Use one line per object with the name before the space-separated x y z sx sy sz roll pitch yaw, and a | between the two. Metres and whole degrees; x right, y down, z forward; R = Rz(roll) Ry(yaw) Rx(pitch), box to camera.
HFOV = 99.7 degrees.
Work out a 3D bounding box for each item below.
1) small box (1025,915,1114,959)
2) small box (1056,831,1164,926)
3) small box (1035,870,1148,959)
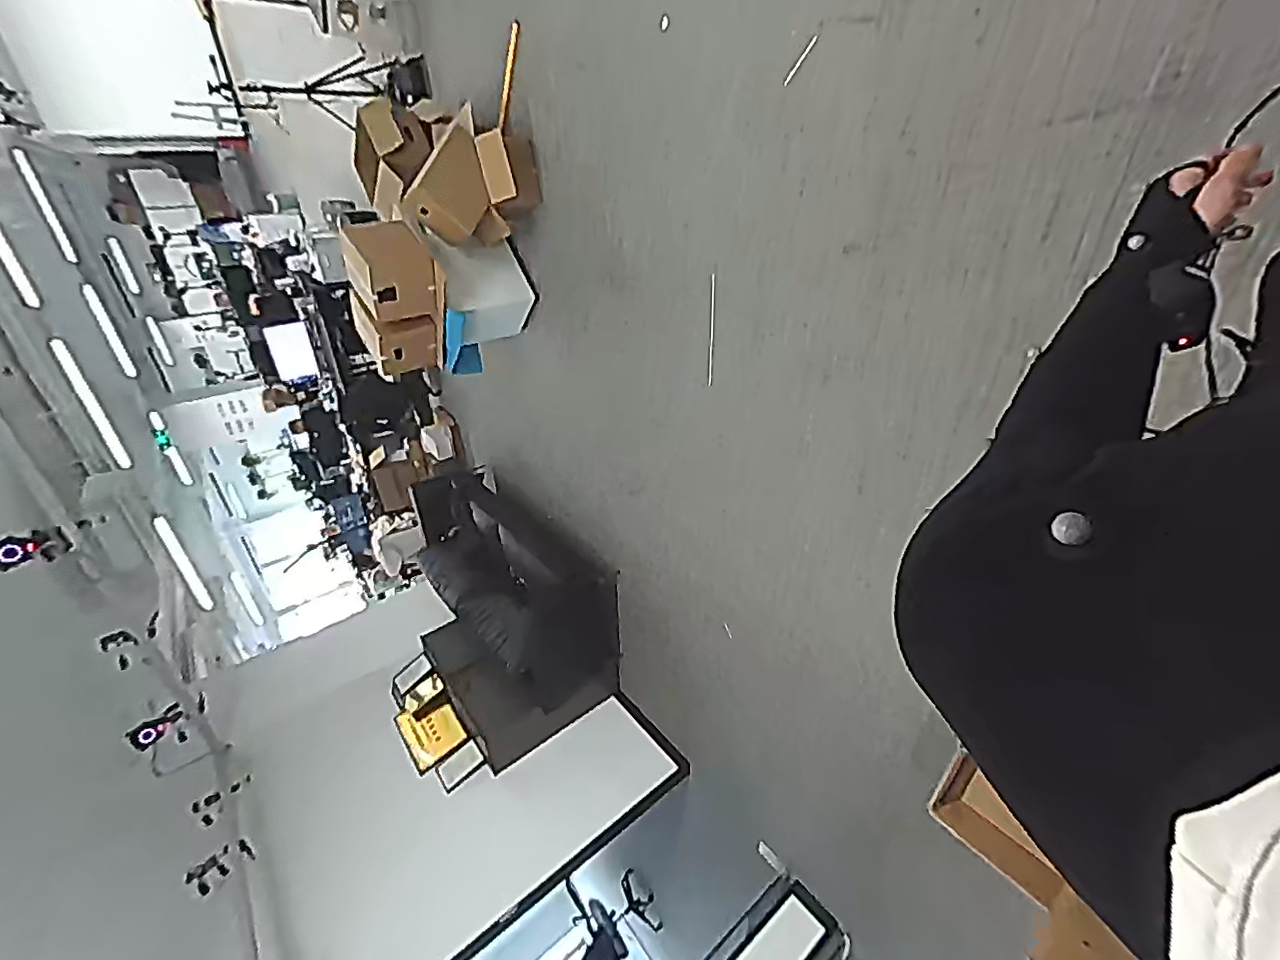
small box | 1.104 1.276 1.382 0.168 0.176 0.179 33 135 41
small box | 1.358 1.171 1.561 0.168 0.176 0.179 35 137 40
small box | 1.230 1.223 1.472 0.168 0.176 0.179 35 135 40
